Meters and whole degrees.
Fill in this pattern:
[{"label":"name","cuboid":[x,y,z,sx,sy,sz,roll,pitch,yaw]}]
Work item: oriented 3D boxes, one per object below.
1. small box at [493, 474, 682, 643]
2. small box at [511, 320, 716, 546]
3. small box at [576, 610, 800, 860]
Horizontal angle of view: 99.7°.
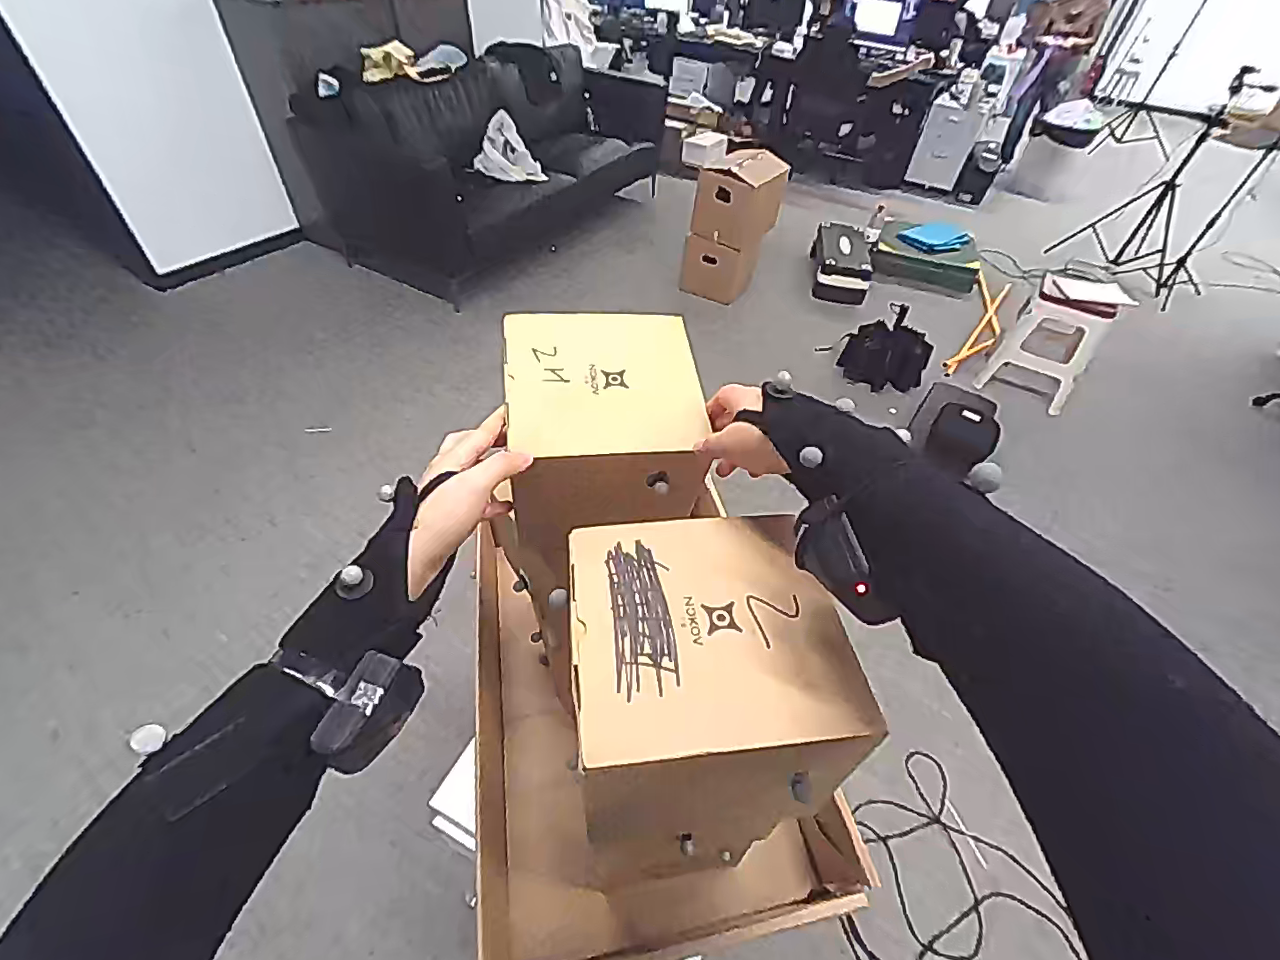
[{"label":"small box","cuboid":[-0.067,0.076,0.709,0.179,0.176,0.168,-28,53,-25]},{"label":"small box","cuboid":[-0.039,-0.044,0.561,0.179,0.176,0.168,-4,57,-11]},{"label":"small box","cuboid":[0.031,0.254,0.540,0.179,0.176,0.168,-6,45,-8]}]
